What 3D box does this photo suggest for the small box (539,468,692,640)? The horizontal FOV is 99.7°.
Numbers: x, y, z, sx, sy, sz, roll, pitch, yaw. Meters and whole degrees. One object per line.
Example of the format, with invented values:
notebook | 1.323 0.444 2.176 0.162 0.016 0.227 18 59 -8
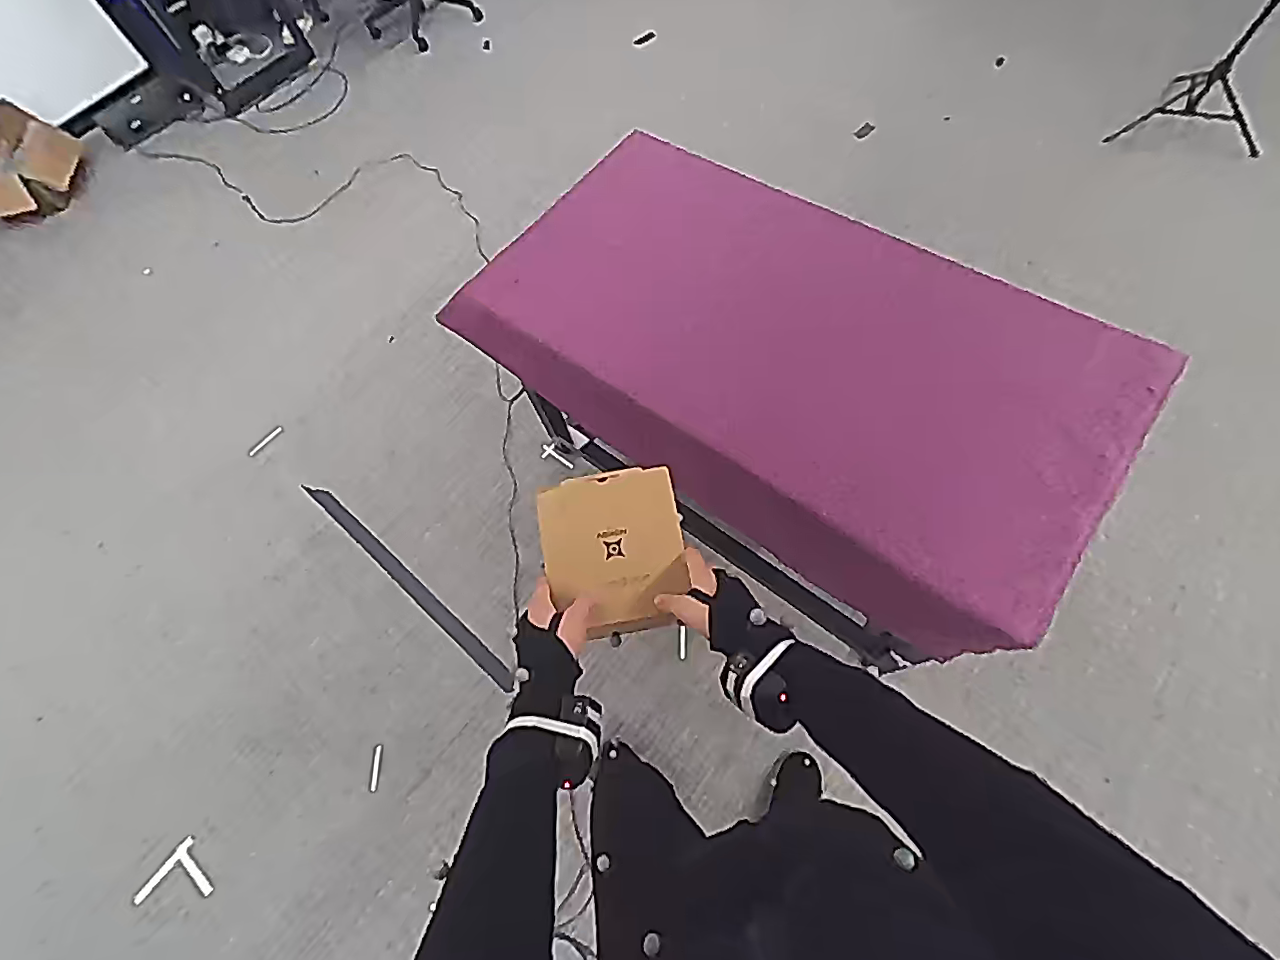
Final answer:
small box | -0.034 0.104 0.719 0.168 0.176 0.179 -9 69 -4
